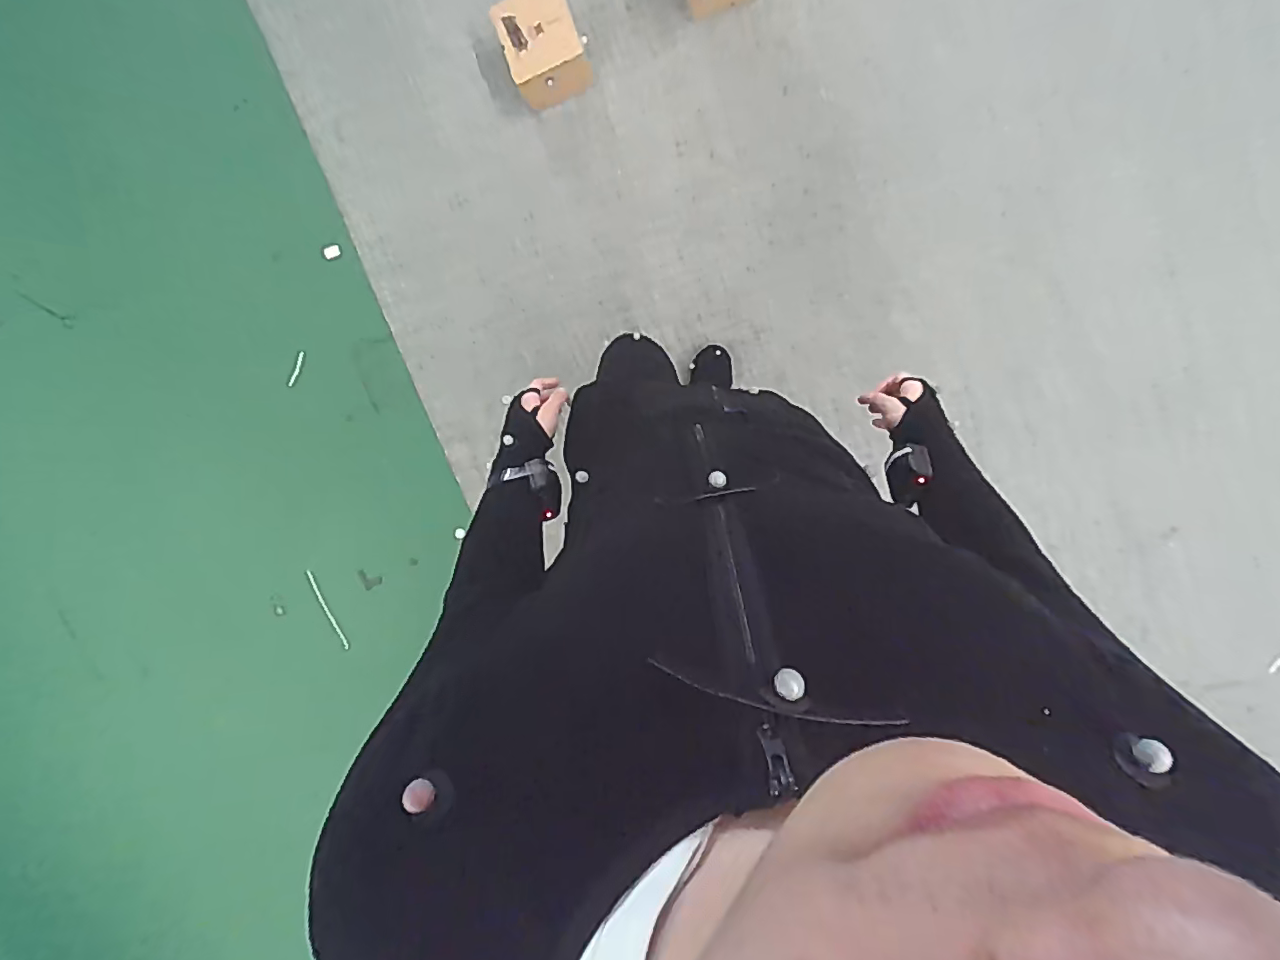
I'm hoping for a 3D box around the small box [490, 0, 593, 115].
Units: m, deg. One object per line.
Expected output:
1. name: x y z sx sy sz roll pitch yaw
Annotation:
1. small box: -0.231 -1.031 1.314 0.179 0.176 0.168 -19 102 9
